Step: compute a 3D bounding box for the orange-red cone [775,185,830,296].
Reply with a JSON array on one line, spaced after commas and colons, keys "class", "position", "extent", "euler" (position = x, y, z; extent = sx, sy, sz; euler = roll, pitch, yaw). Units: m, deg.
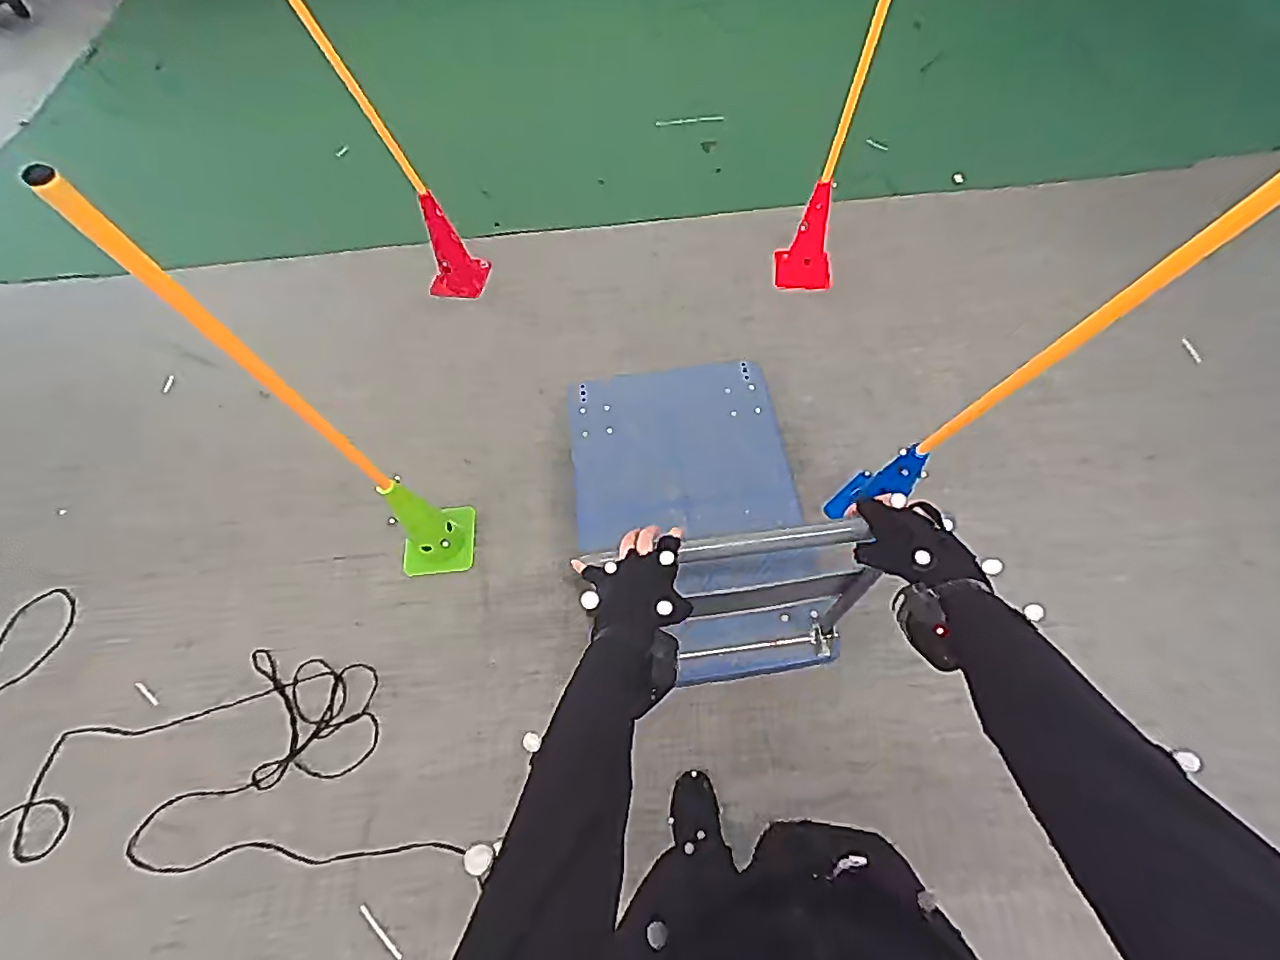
[{"class": "orange-red cone", "position": [0.594, -0.836, 1.860], "extent": [0.198, 0.360, 0.199], "euler": [4, 63, 7]}]
